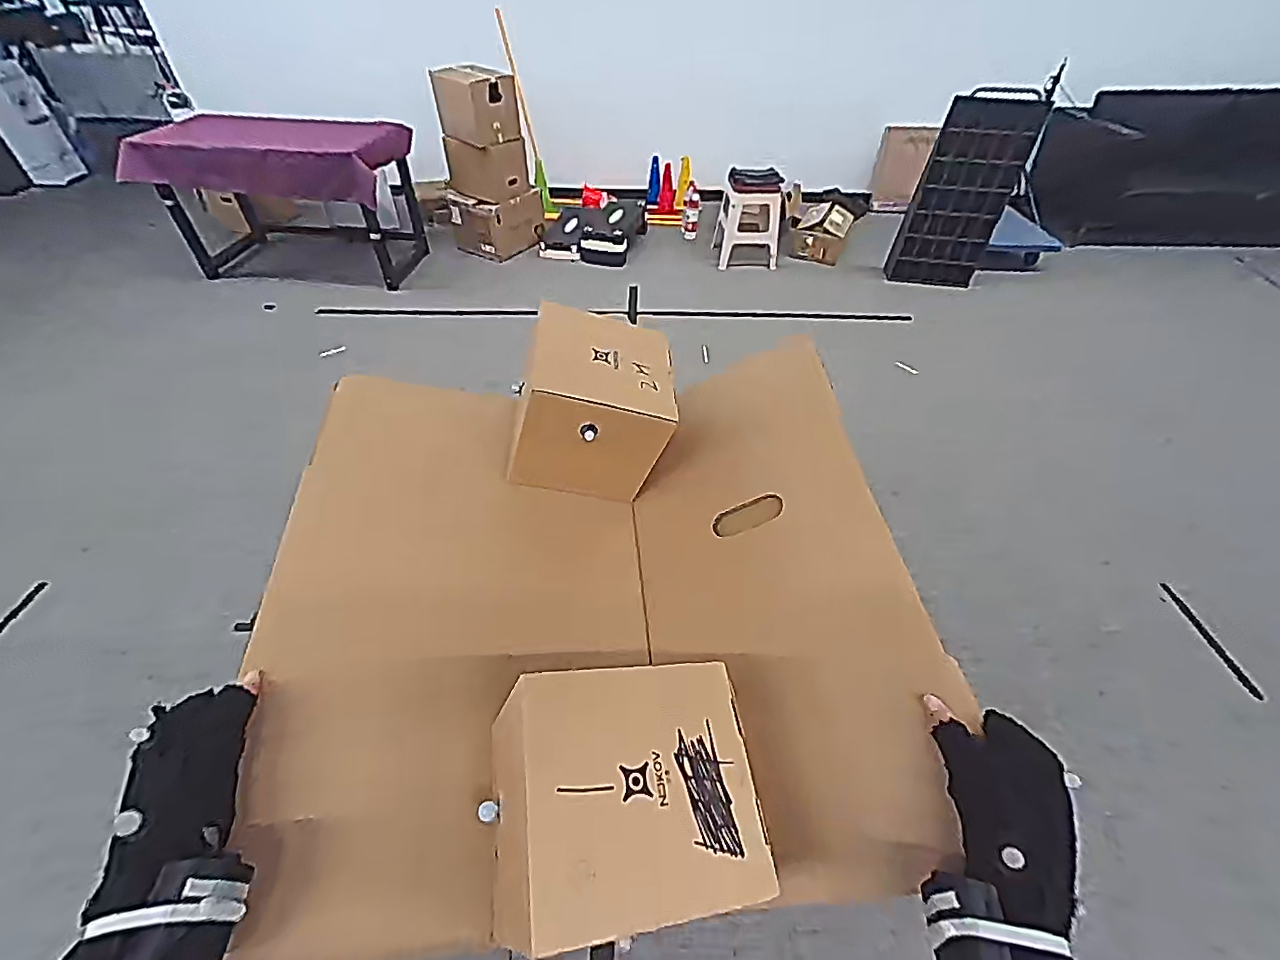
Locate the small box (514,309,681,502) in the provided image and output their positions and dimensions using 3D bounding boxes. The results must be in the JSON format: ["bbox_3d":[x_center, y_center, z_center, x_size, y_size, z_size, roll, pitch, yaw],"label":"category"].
[{"bbox_3d":[-0.062,-0.090,0.715,0.179,0.176,0.168,12,50,-17],"label":"small box"}]
